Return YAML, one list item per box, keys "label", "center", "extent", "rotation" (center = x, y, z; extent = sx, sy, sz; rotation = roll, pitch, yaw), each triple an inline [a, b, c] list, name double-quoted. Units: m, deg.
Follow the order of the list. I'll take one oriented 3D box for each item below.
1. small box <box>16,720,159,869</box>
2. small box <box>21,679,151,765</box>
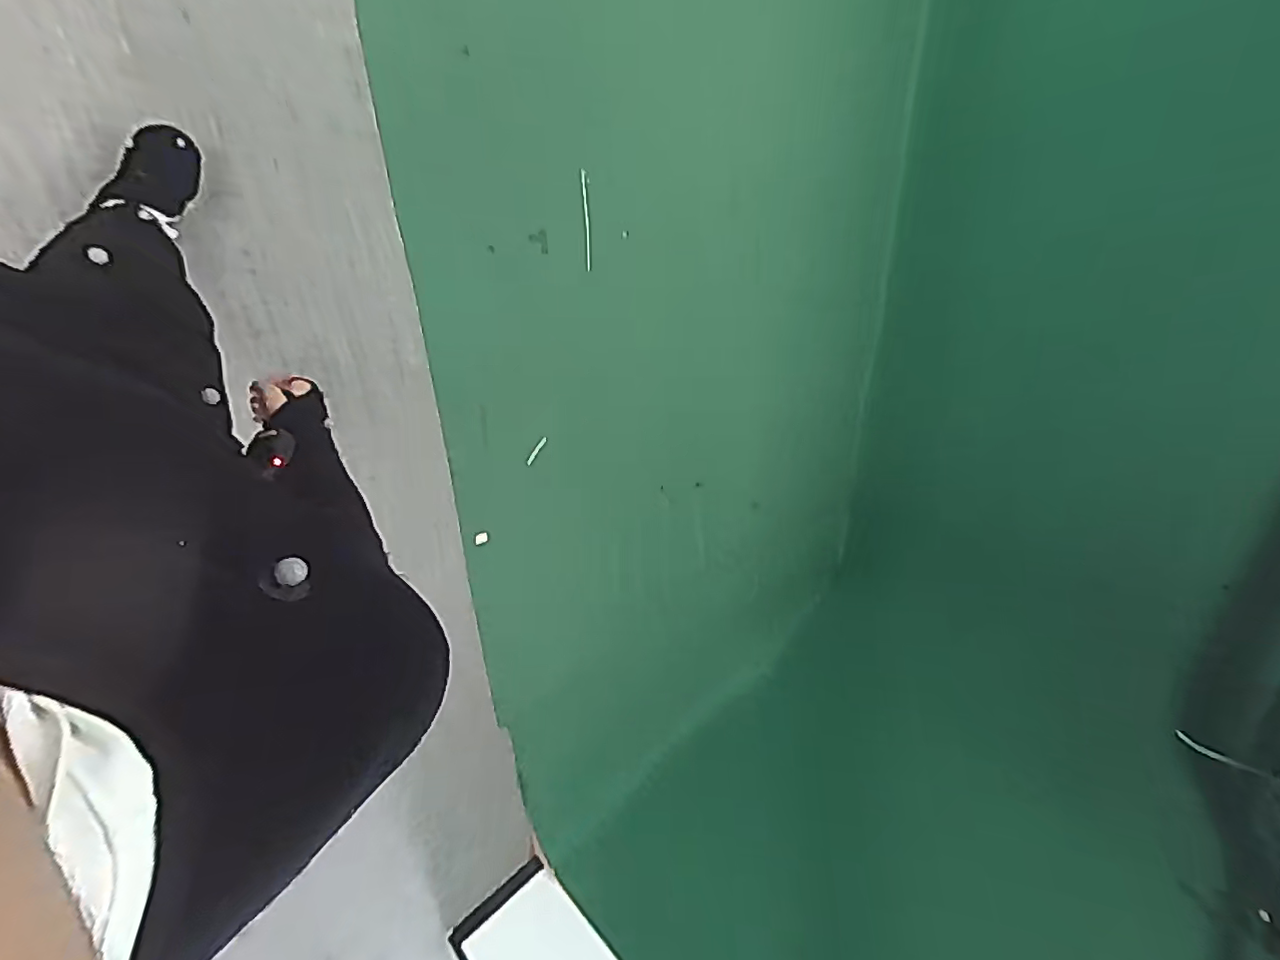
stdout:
- label: "small box"
  center: [-1.132, 0.628, 1.112]
  extent: [0.168, 0.176, 0.179]
  rotation: [-20, 121, -41]
- label: "small box"
  center: [-1.247, 0.579, 1.220]
  extent: [0.168, 0.176, 0.179]
  rotation: [-21, 121, -40]
